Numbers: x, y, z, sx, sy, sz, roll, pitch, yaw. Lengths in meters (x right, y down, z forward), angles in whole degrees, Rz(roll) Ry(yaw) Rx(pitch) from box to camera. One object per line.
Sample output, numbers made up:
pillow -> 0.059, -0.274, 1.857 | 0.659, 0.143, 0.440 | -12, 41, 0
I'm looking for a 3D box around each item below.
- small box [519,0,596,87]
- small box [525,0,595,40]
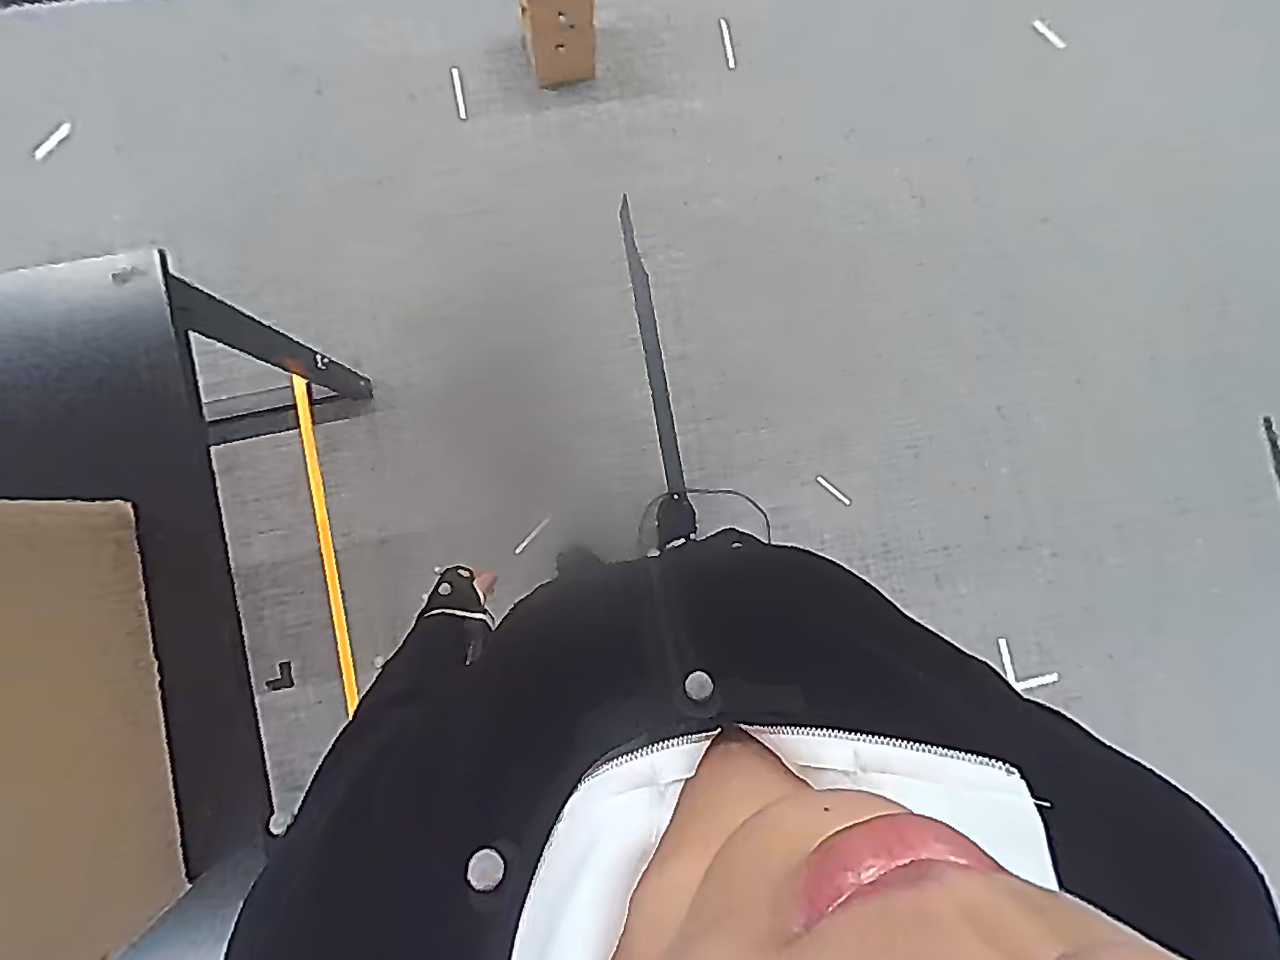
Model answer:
small box -> -0.222, -1.220, 1.480 | 0.179, 0.176, 0.168 | -15, 88, -5
small box -> -0.206, -1.231, 1.316 | 0.168, 0.176, 0.179 | -11, 88, -4
